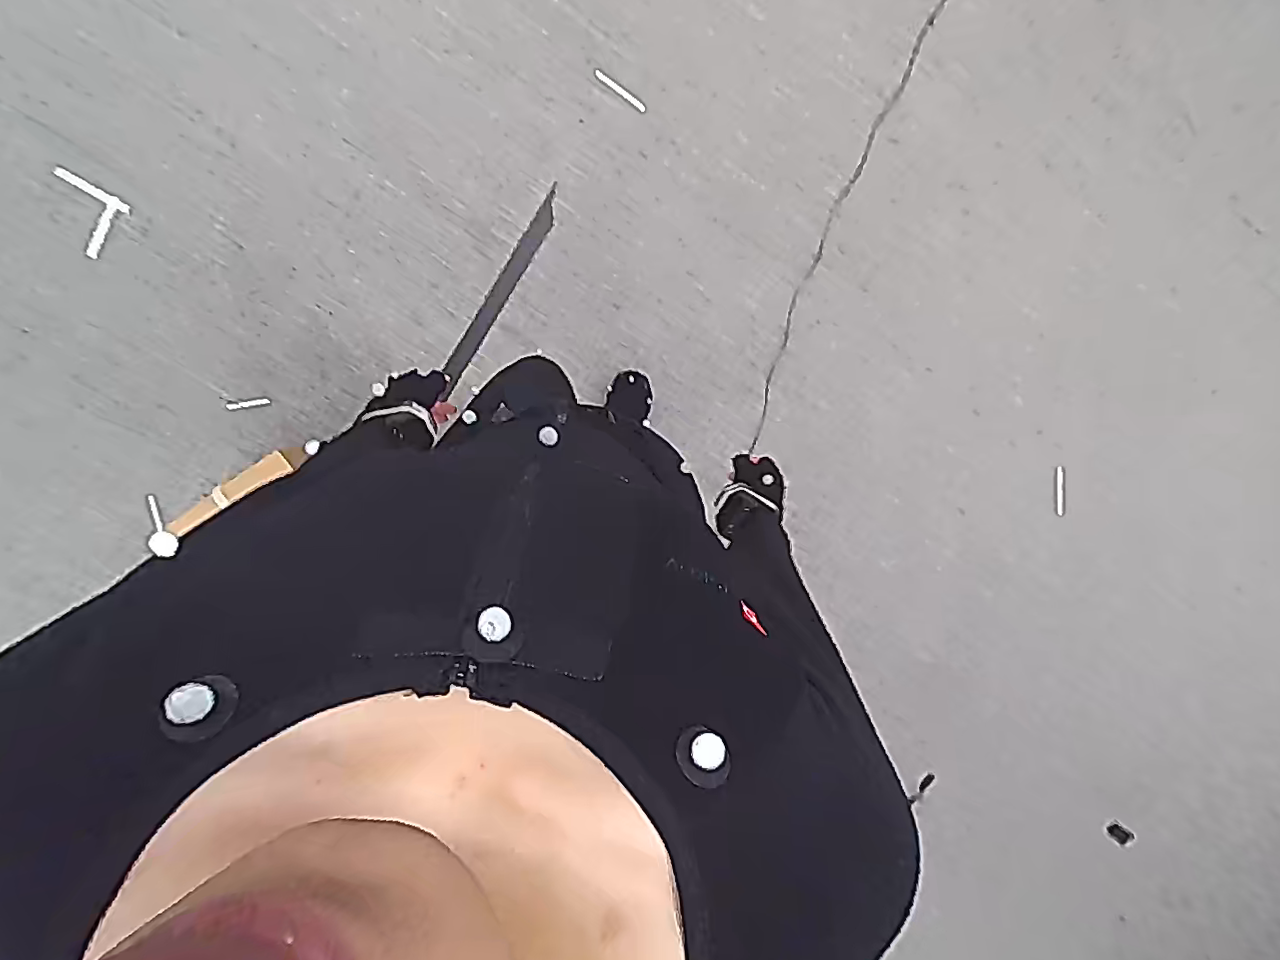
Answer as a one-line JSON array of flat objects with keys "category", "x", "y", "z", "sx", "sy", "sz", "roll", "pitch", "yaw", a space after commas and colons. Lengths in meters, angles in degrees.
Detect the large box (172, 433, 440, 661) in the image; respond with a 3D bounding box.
[{"category": "large box", "x": -0.770, "y": 0.141, "z": 1.319, "sx": 0.320, "sy": 0.320, "sz": 0.408, "roll": -34, "pitch": 101, "yaw": 3}]
